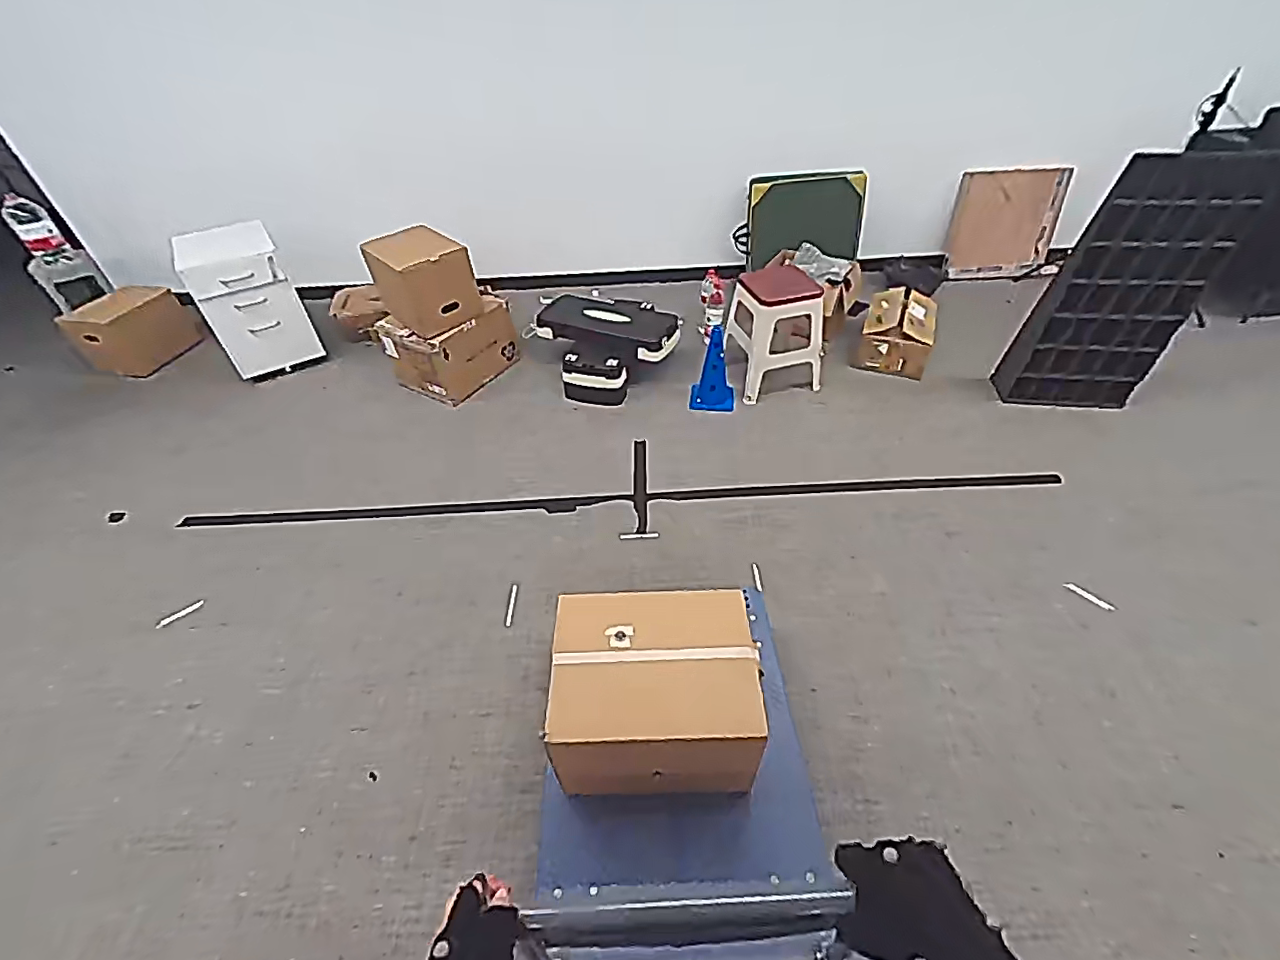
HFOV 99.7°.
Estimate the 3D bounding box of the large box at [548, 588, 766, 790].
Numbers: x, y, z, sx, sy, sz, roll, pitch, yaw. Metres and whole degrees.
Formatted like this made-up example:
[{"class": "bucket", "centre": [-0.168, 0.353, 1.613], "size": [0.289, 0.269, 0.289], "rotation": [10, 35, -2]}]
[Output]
[{"class": "large box", "centre": [0.036, 0.461, 1.182], "size": [0.408, 0.320, 0.320], "rotation": [-3, 44, 2]}]
